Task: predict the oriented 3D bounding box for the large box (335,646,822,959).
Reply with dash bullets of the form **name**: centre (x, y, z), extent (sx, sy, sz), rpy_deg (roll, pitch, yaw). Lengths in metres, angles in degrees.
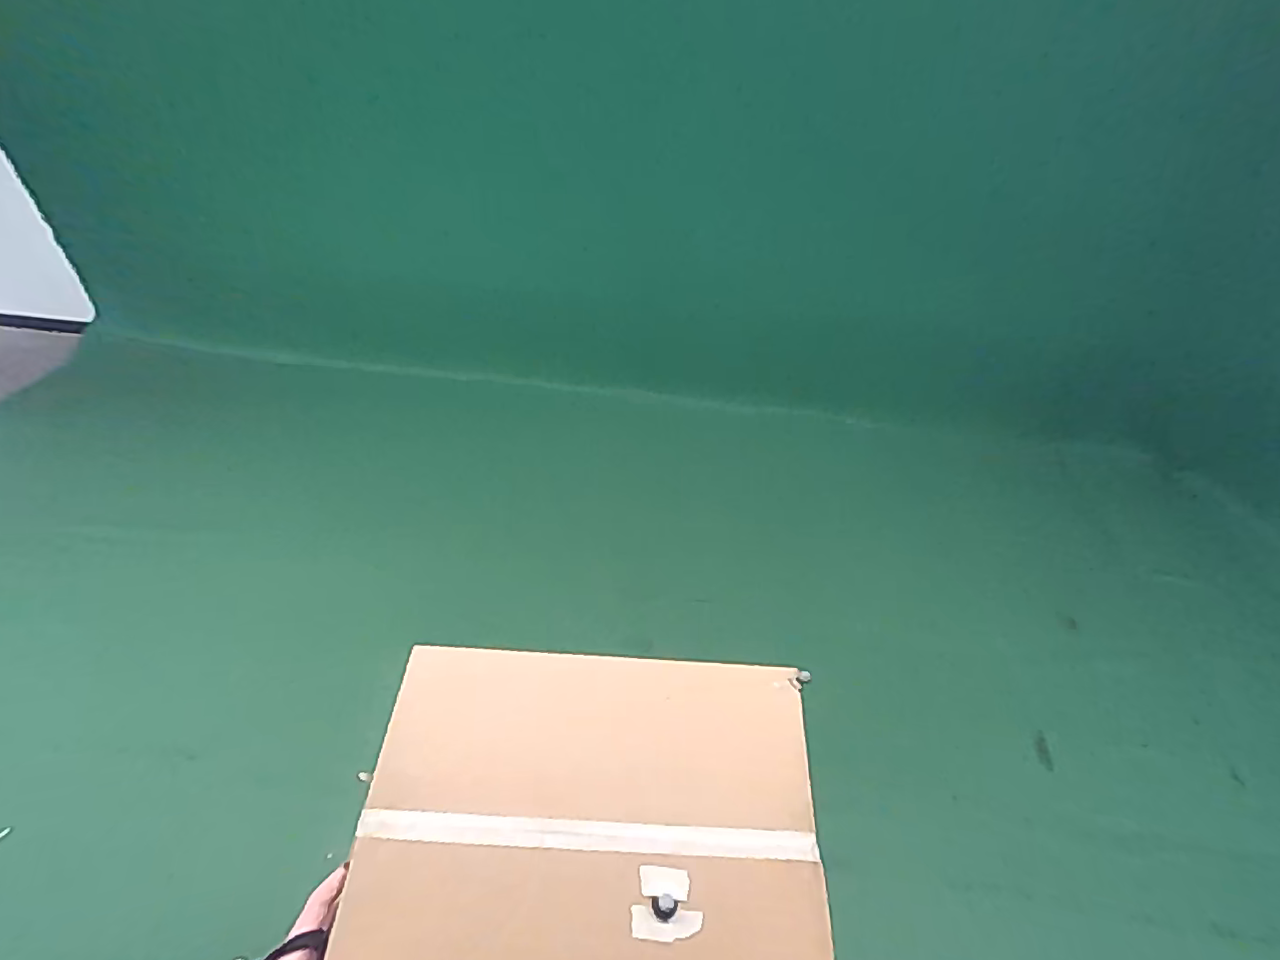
- **large box**: centre (-0.053, 0.396, 0.615), extent (0.408, 0.320, 0.320), rpy_deg (3, 56, -1)
